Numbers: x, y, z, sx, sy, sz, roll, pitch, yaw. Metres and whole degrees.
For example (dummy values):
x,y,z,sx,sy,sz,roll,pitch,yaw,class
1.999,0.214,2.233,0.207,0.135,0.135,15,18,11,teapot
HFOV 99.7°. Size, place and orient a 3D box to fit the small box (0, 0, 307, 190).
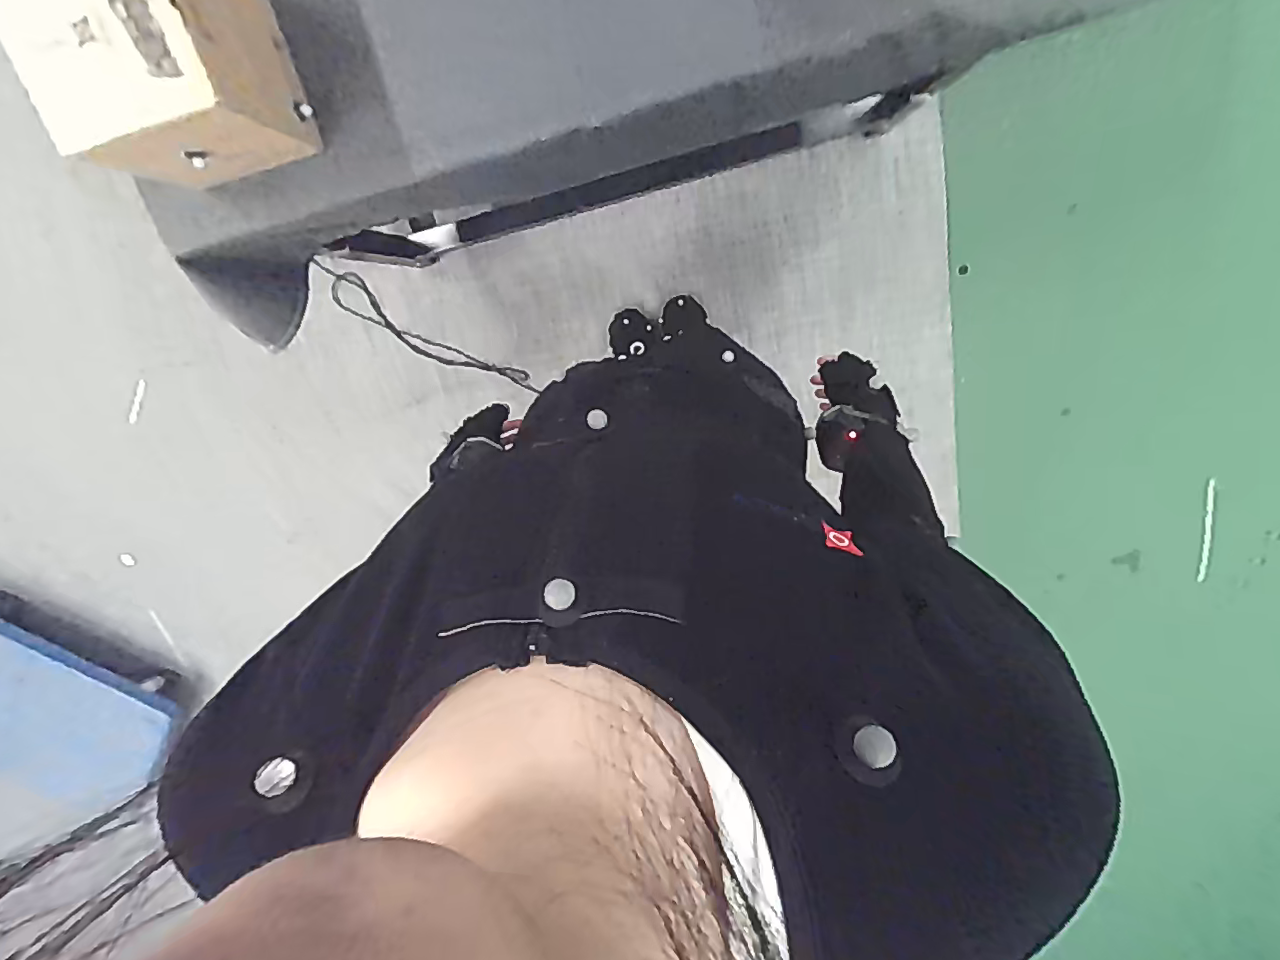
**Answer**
x,y,z,sx,sy,sz,roll,pitch,yaw,class
-0.488,-0.424,0.561,0.179,0.176,0.168,-13,107,7,small box
